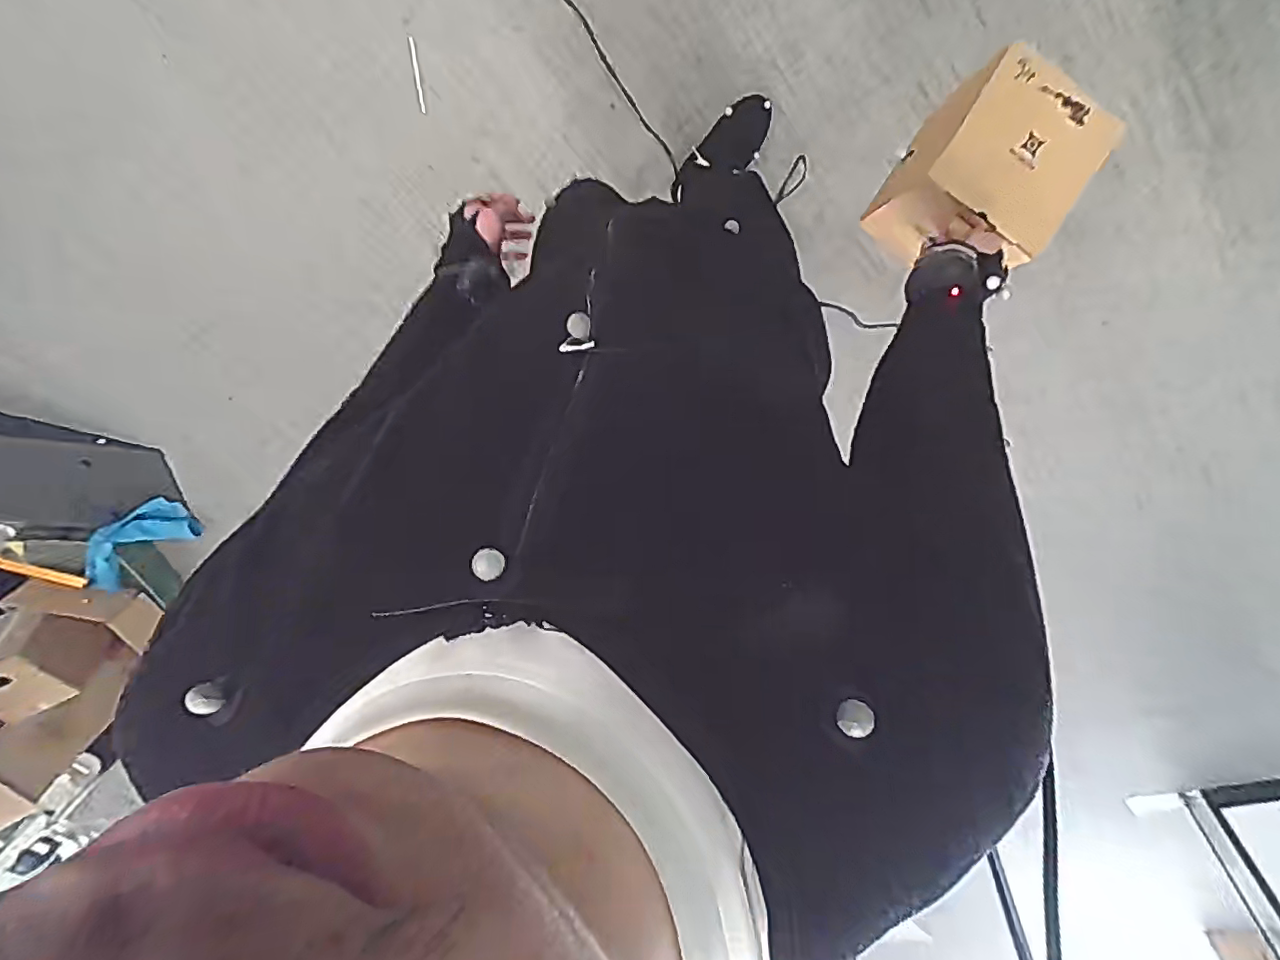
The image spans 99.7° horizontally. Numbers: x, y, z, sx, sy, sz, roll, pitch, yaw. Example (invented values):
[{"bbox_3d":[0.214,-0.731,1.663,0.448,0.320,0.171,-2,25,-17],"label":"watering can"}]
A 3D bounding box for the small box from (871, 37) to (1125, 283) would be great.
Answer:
[{"bbox_3d":[0.424,-0.376,0.679,0.168,0.176,0.179,34,96,-8],"label":"small box"}]
